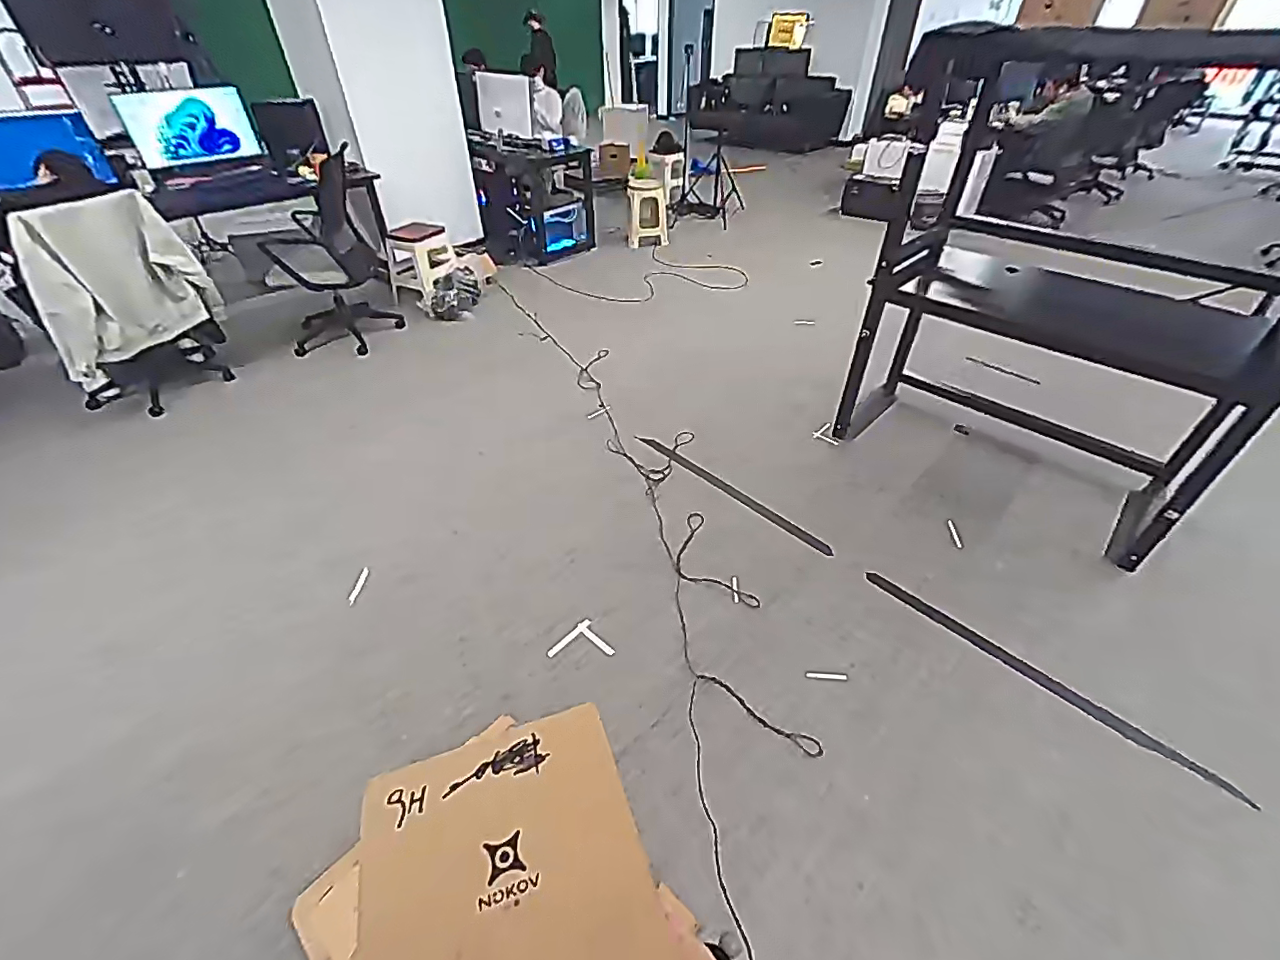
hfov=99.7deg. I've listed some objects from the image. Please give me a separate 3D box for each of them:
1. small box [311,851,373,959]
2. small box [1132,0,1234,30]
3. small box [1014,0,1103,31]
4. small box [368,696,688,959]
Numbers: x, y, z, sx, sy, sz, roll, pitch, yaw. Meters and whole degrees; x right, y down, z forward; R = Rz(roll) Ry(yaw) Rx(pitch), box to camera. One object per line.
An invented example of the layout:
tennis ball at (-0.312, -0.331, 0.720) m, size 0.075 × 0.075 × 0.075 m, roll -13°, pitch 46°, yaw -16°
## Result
small box at (-0.533, 0.909, 1.123) m, size 0.179 × 0.176 × 0.168 m, roll 27°, pitch 49°, yaw 27°
small box at (1.344, -1.201, 1.305) m, size 0.179 × 0.176 × 0.168 m, roll -32°, pitch 49°, yaw -34°
small box at (1.150, -1.324, 1.454) m, size 0.168 × 0.176 × 0.179 m, roll 32°, pitch 49°, yaw 31°
small box at (-0.071, 0.290, 0.371) m, size 0.168 × 0.176 × 0.179 m, roll -13°, pitch 41°, yaw -14°
